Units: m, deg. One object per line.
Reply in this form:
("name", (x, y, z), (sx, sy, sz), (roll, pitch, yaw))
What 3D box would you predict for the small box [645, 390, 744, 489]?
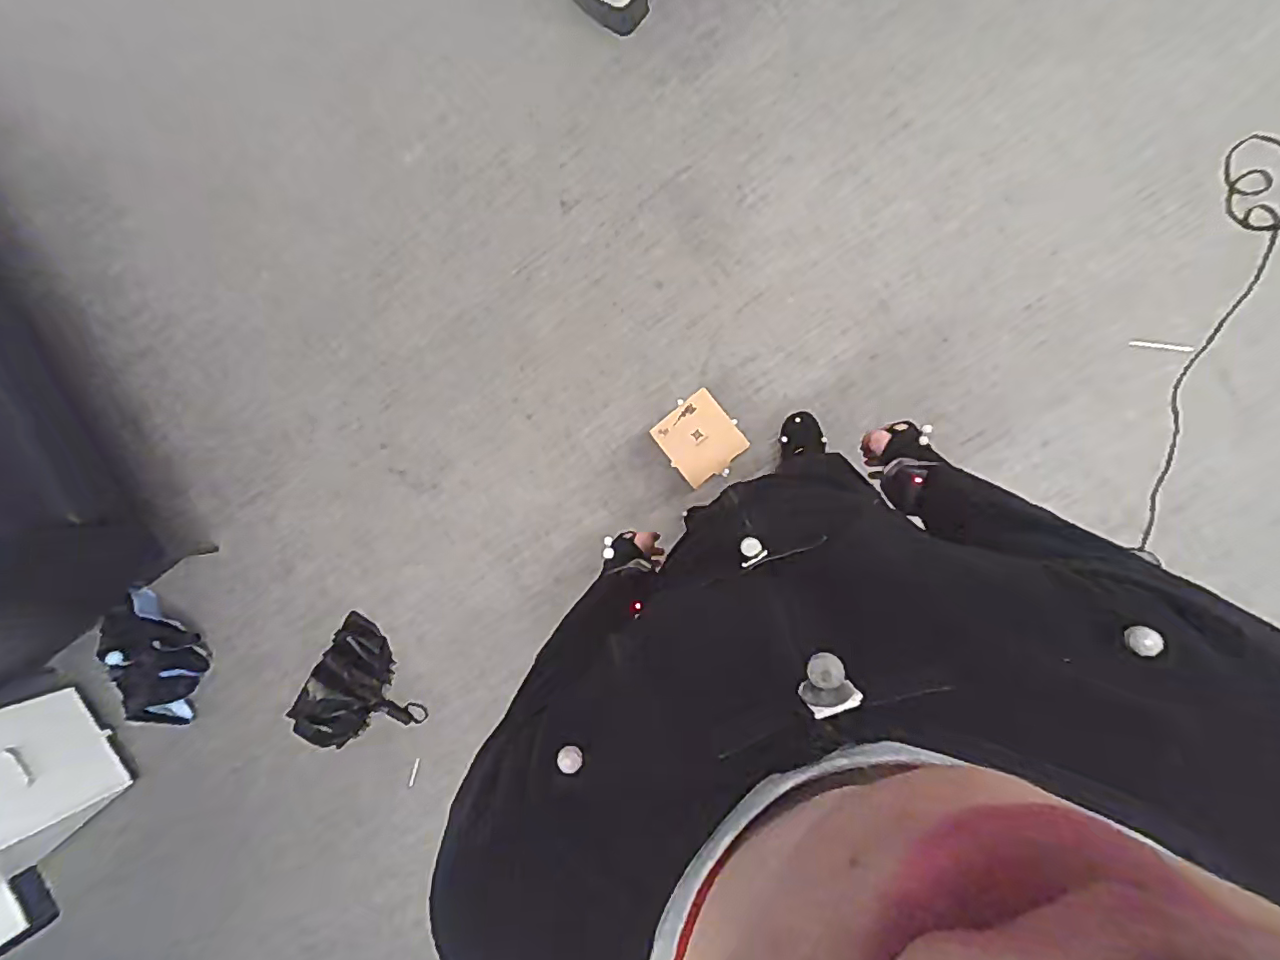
("small box", (0.137, -0.097, 1.325), (0.168, 0.176, 0.179), (-38, 85, 8))
